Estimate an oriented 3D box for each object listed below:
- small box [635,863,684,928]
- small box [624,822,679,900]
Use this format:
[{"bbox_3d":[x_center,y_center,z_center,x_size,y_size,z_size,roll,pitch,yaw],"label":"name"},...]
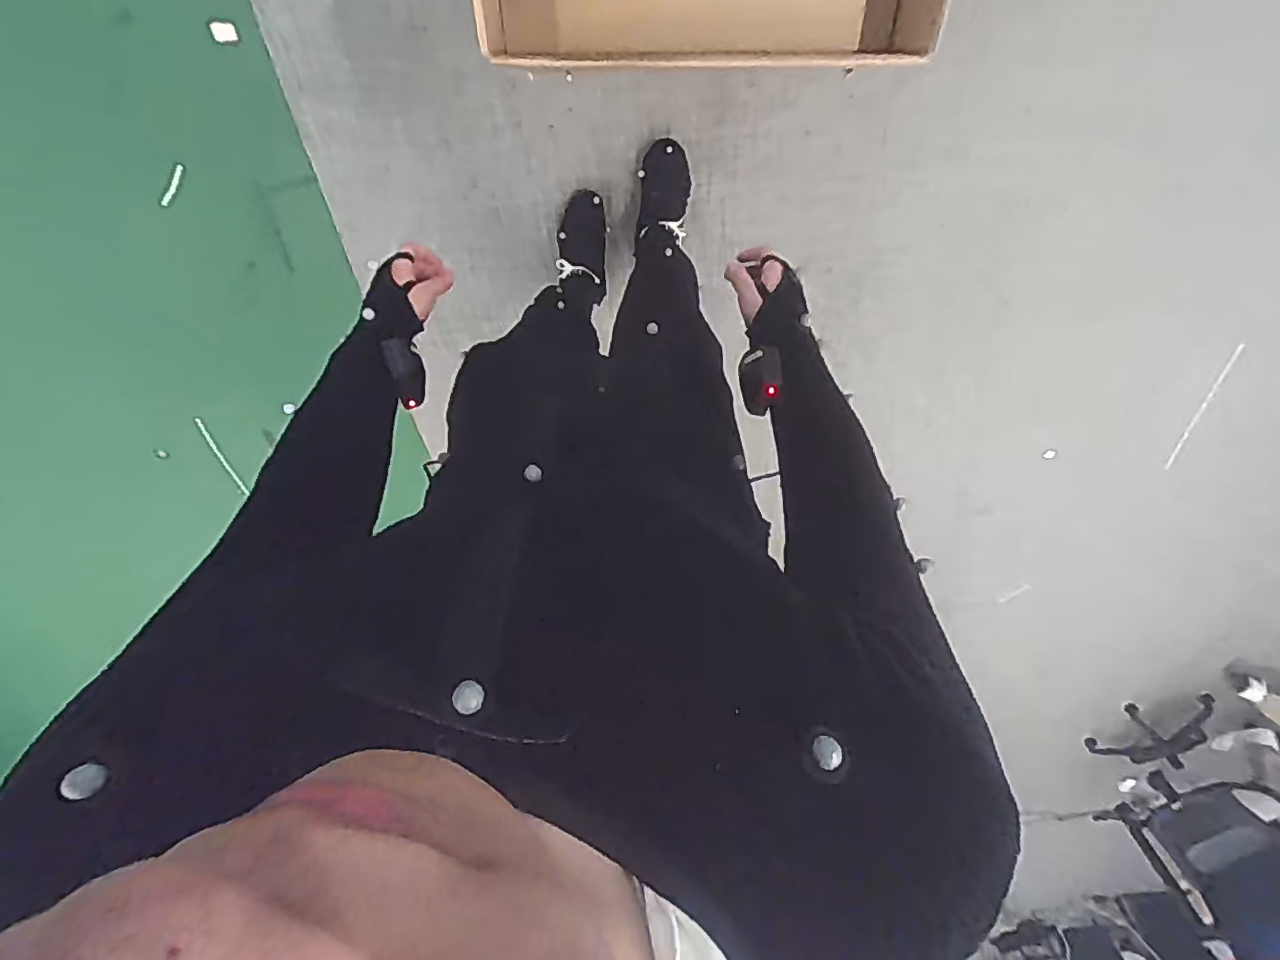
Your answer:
[{"bbox_3d":[0.070,1.510,1.984,0.168,0.176,0.179,-7,126,2],"label":"small box"},{"bbox_3d":[0.039,1.260,1.790,0.168,0.176,0.179,-7,128,3],"label":"small box"}]
